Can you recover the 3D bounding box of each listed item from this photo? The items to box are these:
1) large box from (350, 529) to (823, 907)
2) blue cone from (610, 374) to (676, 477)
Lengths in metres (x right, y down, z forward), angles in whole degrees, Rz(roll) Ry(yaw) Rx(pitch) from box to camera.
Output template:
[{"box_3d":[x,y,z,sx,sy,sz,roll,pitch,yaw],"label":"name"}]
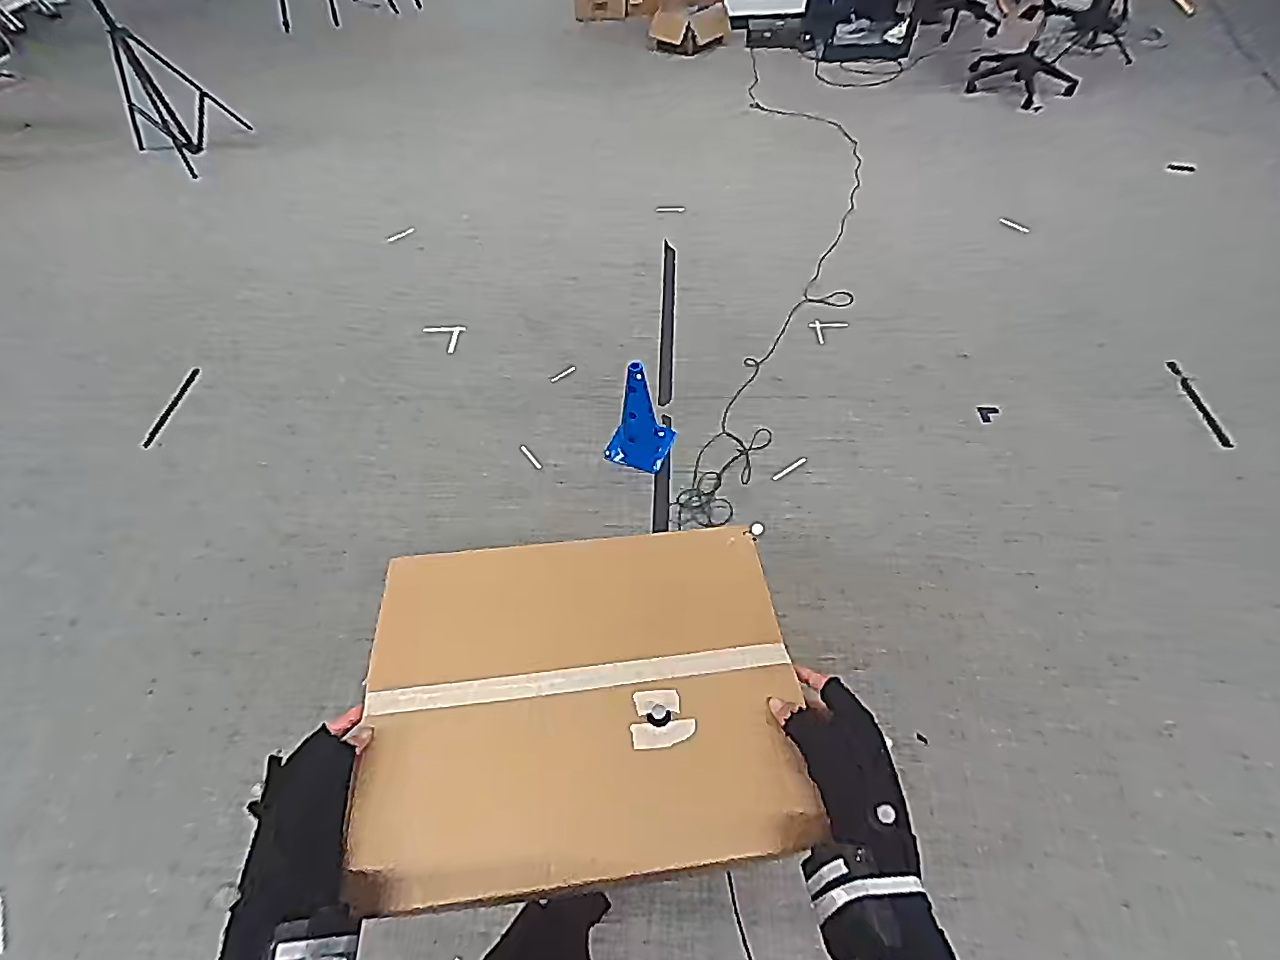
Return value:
[{"box_3d":[-0.059,0.287,0.652,0.408,0.320,0.320,-4,52,-5],"label":"large box"},{"box_3d":[0.004,-0.197,1.717,0.193,0.380,0.192,19,58,16],"label":"blue cone"}]
